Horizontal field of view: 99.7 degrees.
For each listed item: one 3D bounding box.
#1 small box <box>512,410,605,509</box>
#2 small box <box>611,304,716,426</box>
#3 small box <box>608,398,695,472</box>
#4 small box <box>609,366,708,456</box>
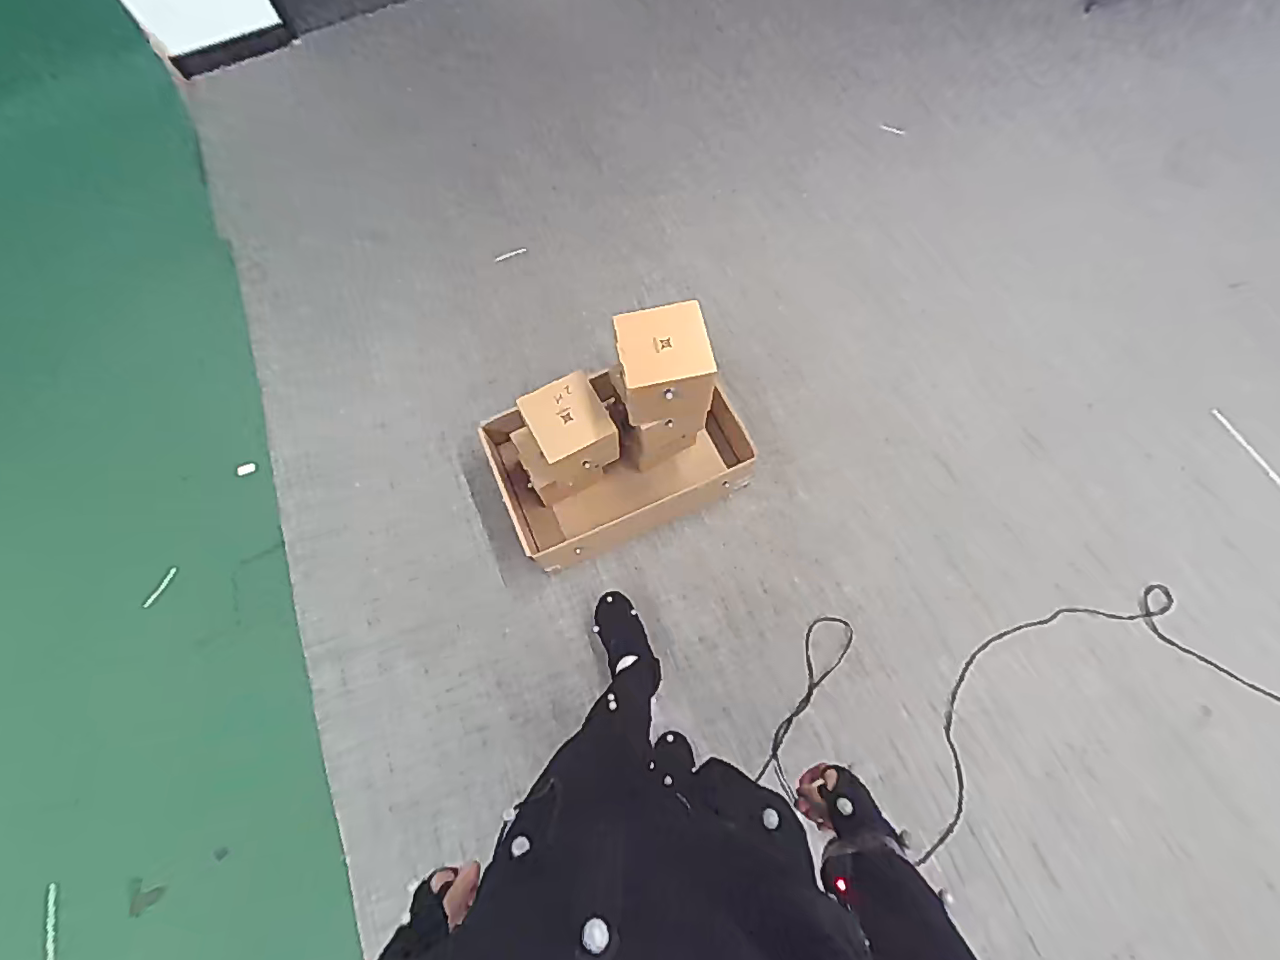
[{"bbox_3d":[-0.205,-0.046,1.407,0.179,0.176,0.168,-27,73,-8],"label":"small box"},{"bbox_3d":[0.046,-0.230,1.111,0.179,0.176,0.168,-13,72,0],"label":"small box"},{"bbox_3d":[0.037,-0.147,1.429,0.179,0.176,0.168,-31,72,-7],"label":"small box"},{"bbox_3d":[0.044,-0.184,1.268,0.168,0.176,0.179,-27,71,-4],"label":"small box"}]
